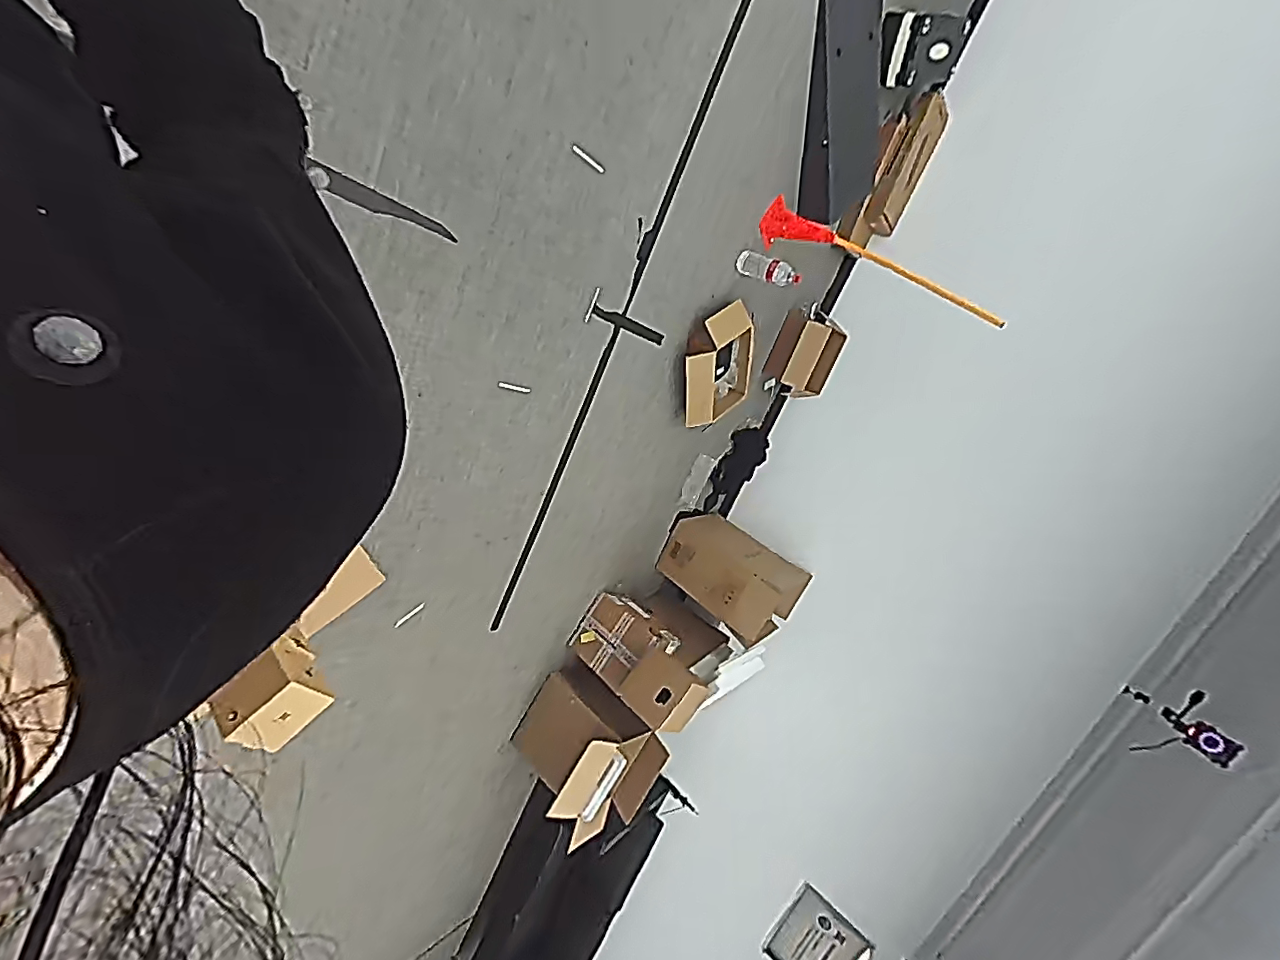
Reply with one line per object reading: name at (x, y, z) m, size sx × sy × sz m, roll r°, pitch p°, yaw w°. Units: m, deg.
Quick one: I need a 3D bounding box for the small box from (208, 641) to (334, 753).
small box at (-0.911, 0.531, 1.335) m, size 0.179 × 0.176 × 0.168 m, roll -43°, pitch 147°, yaw -18°

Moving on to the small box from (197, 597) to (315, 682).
small box at (-1.013, 0.445, 1.428) m, size 0.179 × 0.176 × 0.168 m, roll -39°, pitch 145°, yaw -24°
